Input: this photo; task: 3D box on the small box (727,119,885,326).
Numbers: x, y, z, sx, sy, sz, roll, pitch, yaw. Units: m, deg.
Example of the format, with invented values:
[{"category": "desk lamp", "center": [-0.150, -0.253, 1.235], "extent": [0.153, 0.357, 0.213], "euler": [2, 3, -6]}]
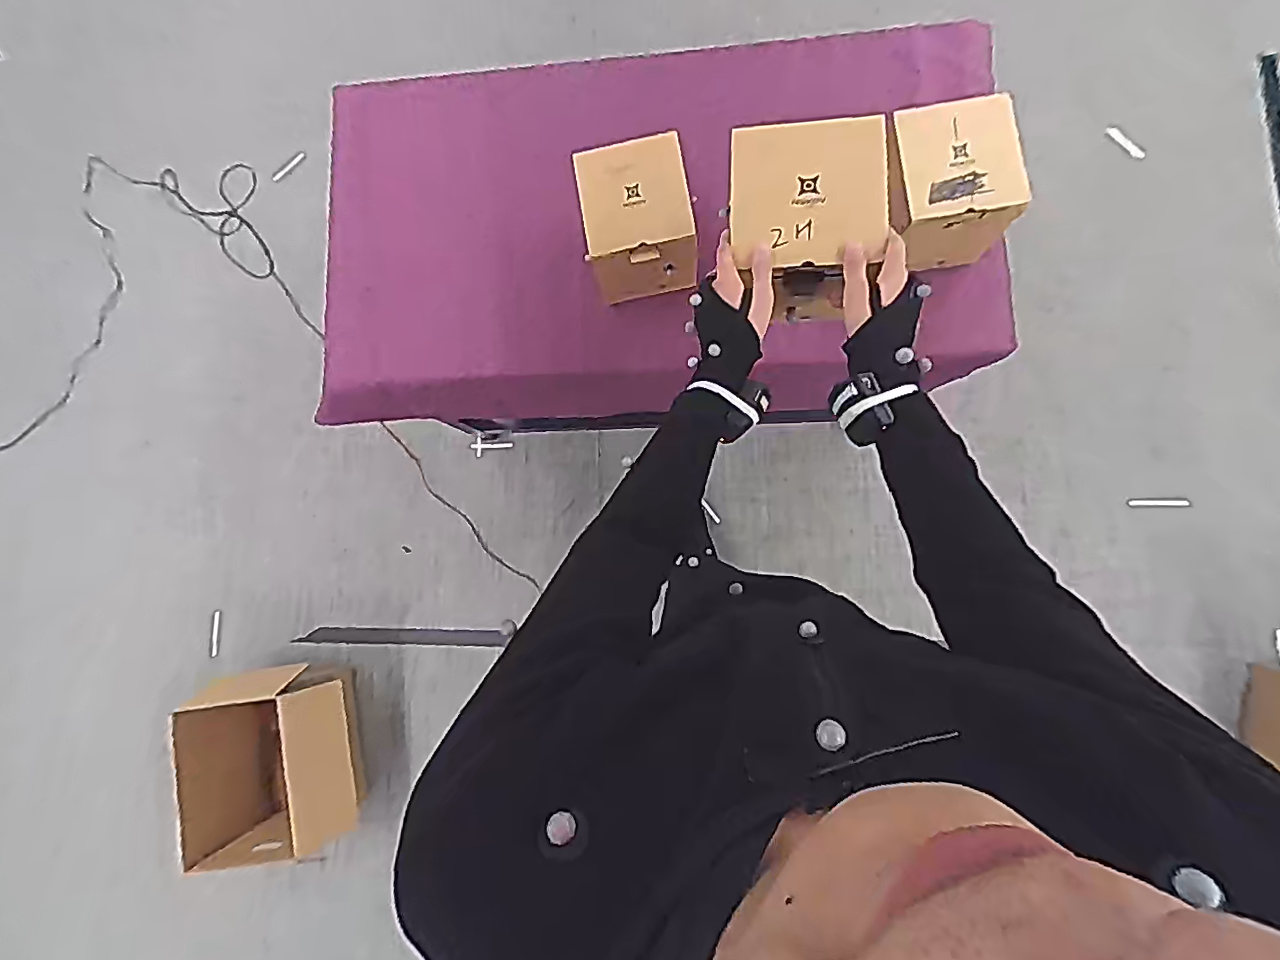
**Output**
[{"category": "small box", "center": [0.194, -0.303, 0.671], "extent": [0.168, 0.176, 0.179], "euler": [1, 90, 10]}]

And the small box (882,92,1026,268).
[{"category": "small box", "center": [0.459, -0.454, 0.849], "extent": [0.168, 0.176, 0.179], "euler": [-6, 83, 5]}]

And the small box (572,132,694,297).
[{"category": "small box", "center": [-0.004, -0.422, 0.893], "extent": [0.168, 0.176, 0.179], "euler": [-10, 83, 4]}]
